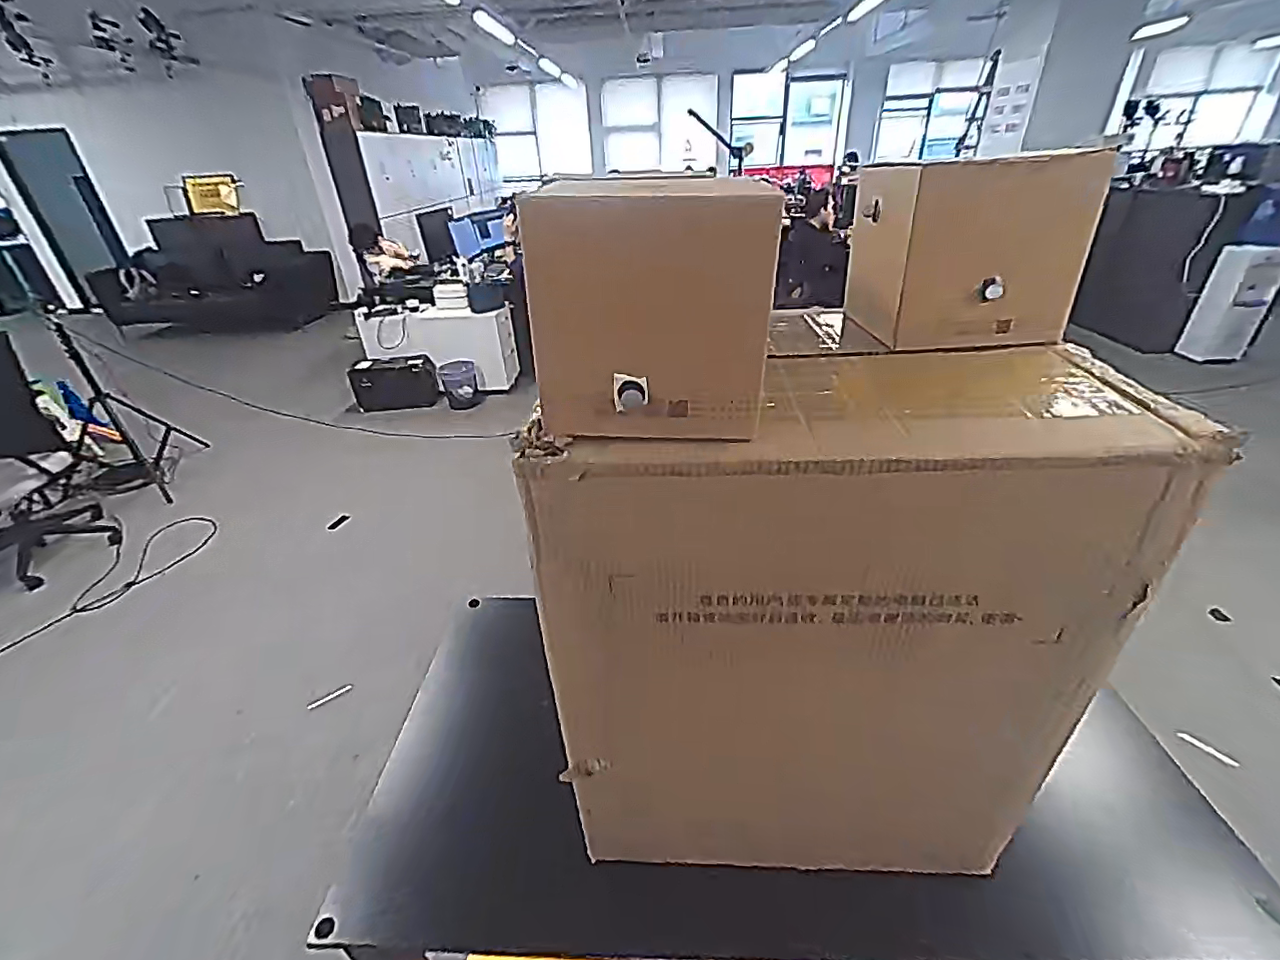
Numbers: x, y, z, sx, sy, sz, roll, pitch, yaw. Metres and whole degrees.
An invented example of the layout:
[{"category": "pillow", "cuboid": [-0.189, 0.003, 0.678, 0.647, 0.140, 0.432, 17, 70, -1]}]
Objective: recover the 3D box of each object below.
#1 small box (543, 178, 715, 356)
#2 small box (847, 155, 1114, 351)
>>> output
[{"category": "small box", "cuboid": [-0.014, -0.247, 0.617, 0.168, 0.176, 0.179, -3, 30, -2]}, {"category": "small box", "cuboid": [0.334, -0.242, 0.579, 0.168, 0.176, 0.179, -3, 29, 4]}]
